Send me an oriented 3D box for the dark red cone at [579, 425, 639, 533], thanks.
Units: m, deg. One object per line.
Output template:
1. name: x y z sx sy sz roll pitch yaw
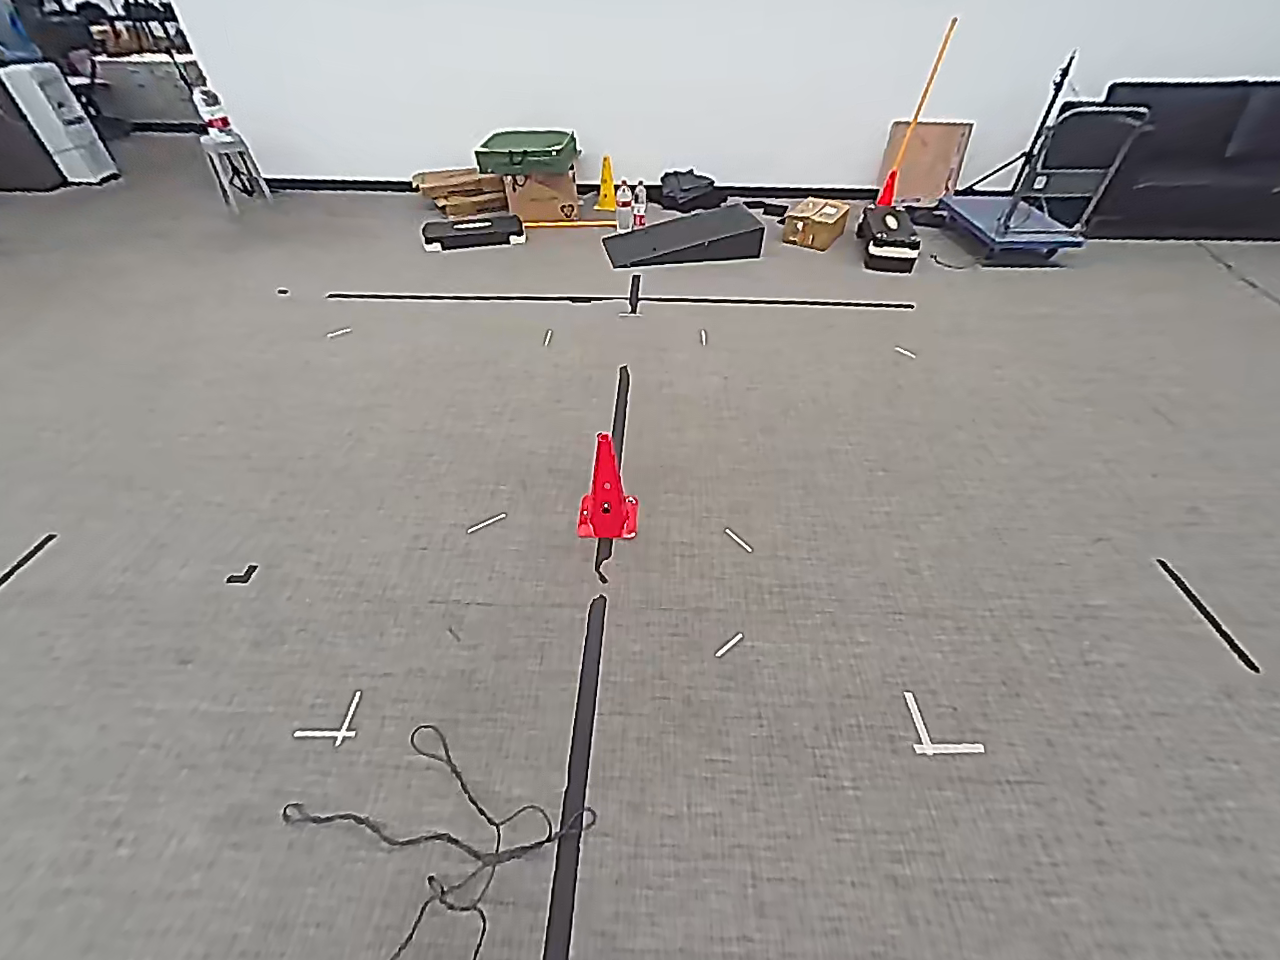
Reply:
1. dark red cone: -0.106 -0.016 1.748 0.201 0.394 0.202 1 44 2
